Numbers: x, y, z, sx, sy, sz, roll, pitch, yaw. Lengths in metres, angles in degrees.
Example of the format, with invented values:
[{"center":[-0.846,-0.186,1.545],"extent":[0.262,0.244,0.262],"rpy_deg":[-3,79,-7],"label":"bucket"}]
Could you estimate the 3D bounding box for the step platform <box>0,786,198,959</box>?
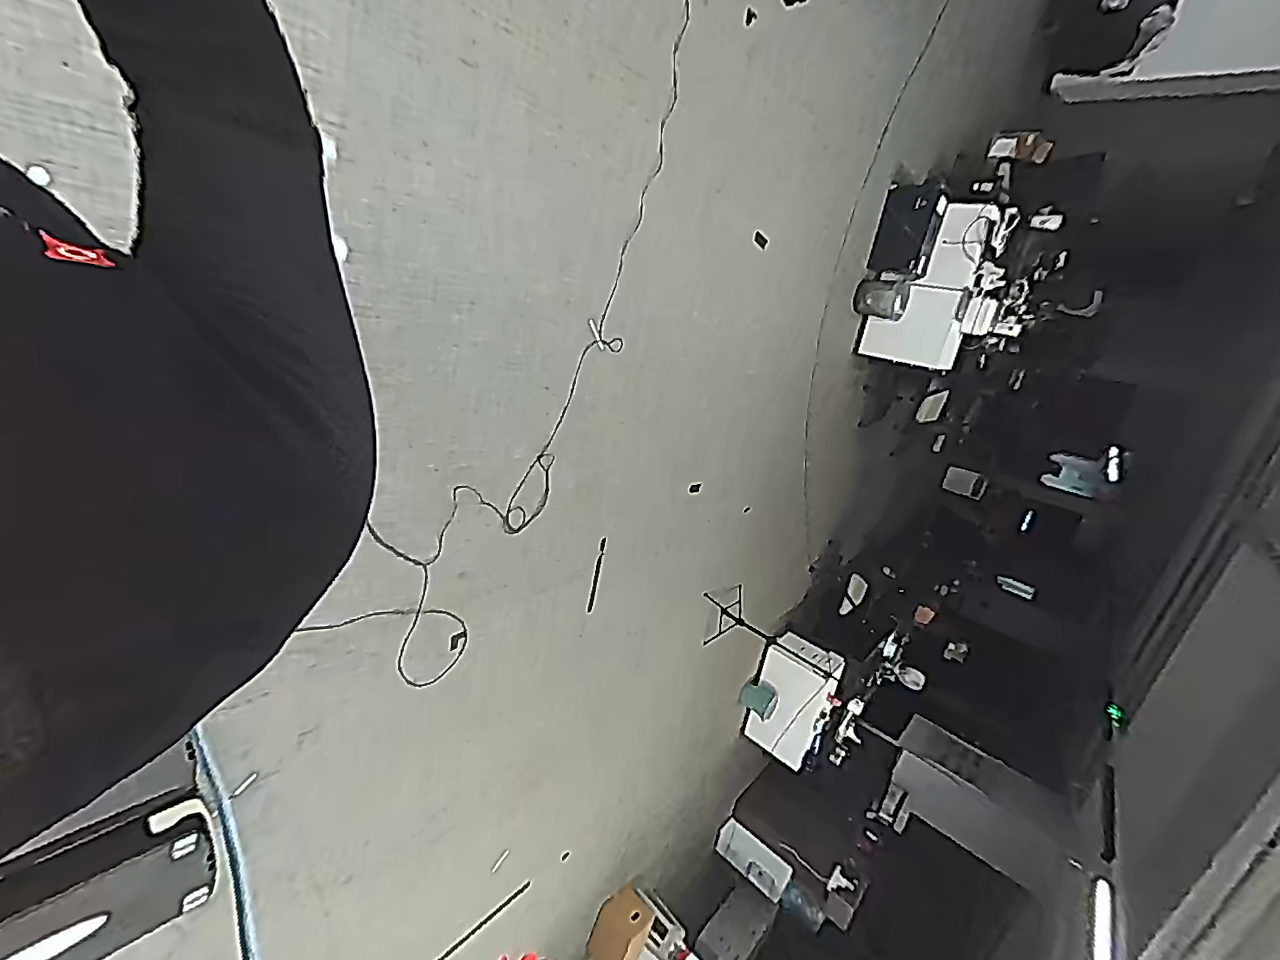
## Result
[{"center":[-1.422,1.014,1.199],"extent":[0.684,0.204,0.286],"rpy_deg":[-13,120,-47],"label":"step platform"}]
